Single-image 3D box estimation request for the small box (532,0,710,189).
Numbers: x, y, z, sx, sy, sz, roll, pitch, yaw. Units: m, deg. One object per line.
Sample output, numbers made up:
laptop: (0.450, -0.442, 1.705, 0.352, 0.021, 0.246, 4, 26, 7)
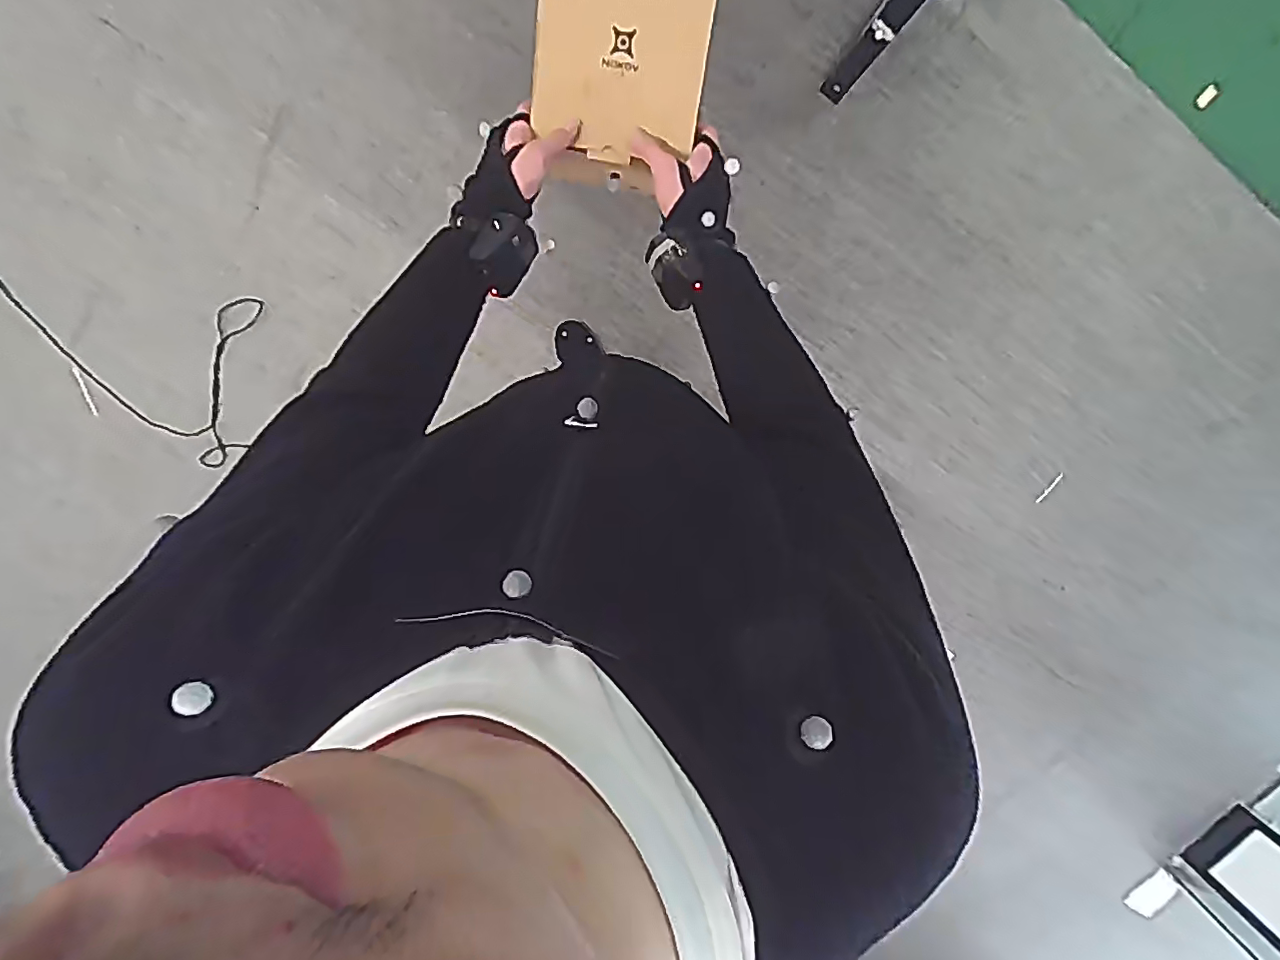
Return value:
small box: (-0.017, -0.437, 0.598, 0.168, 0.176, 0.179, 6, 108, 0)
